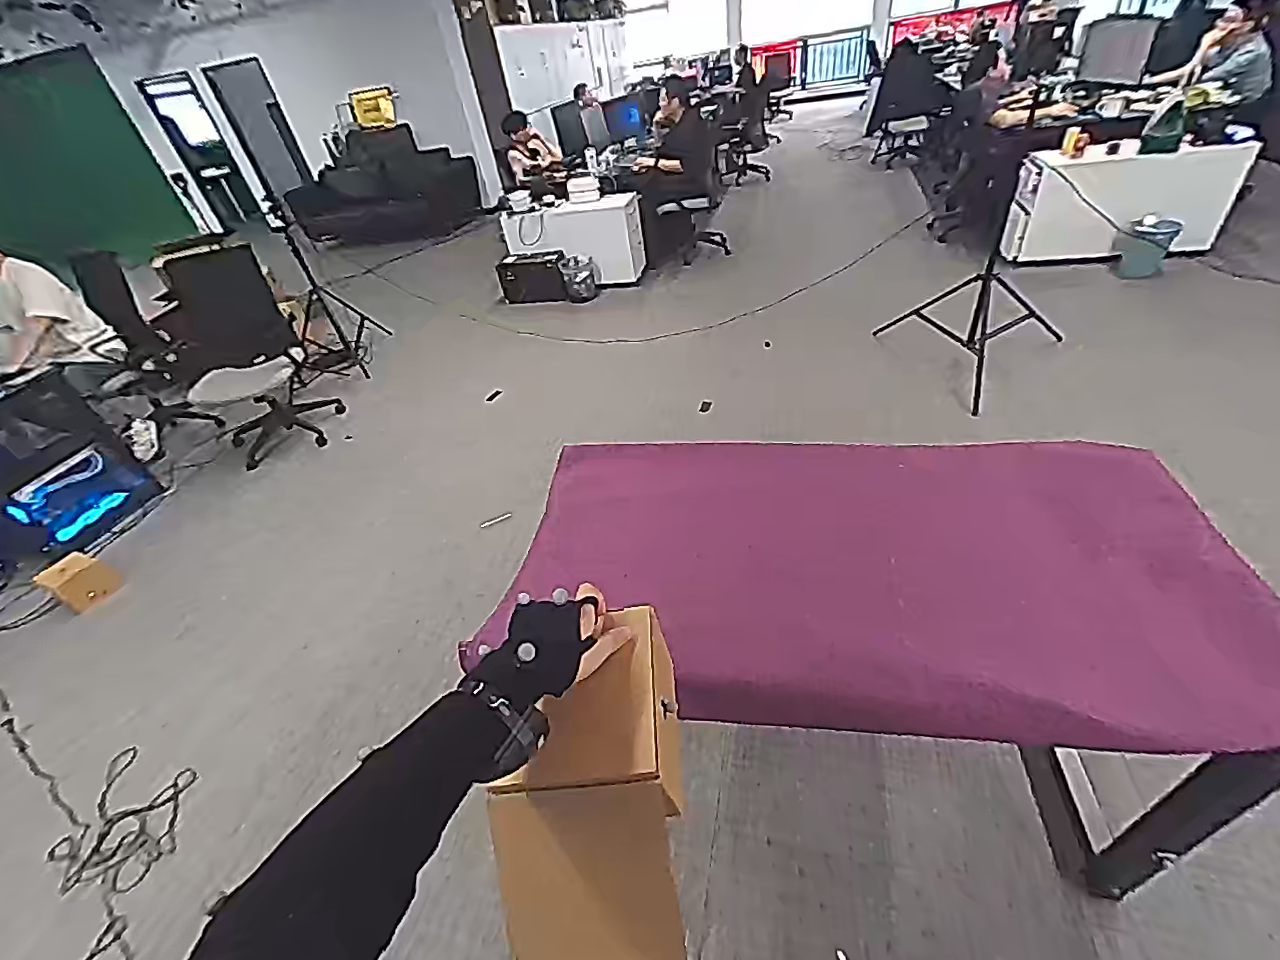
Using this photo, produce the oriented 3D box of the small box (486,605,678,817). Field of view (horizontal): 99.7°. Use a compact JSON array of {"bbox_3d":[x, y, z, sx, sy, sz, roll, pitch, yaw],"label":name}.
[{"bbox_3d":[-0.052,0.265,0.608,0.168,0.176,0.179,-8,47,7],"label":"small box"}]
